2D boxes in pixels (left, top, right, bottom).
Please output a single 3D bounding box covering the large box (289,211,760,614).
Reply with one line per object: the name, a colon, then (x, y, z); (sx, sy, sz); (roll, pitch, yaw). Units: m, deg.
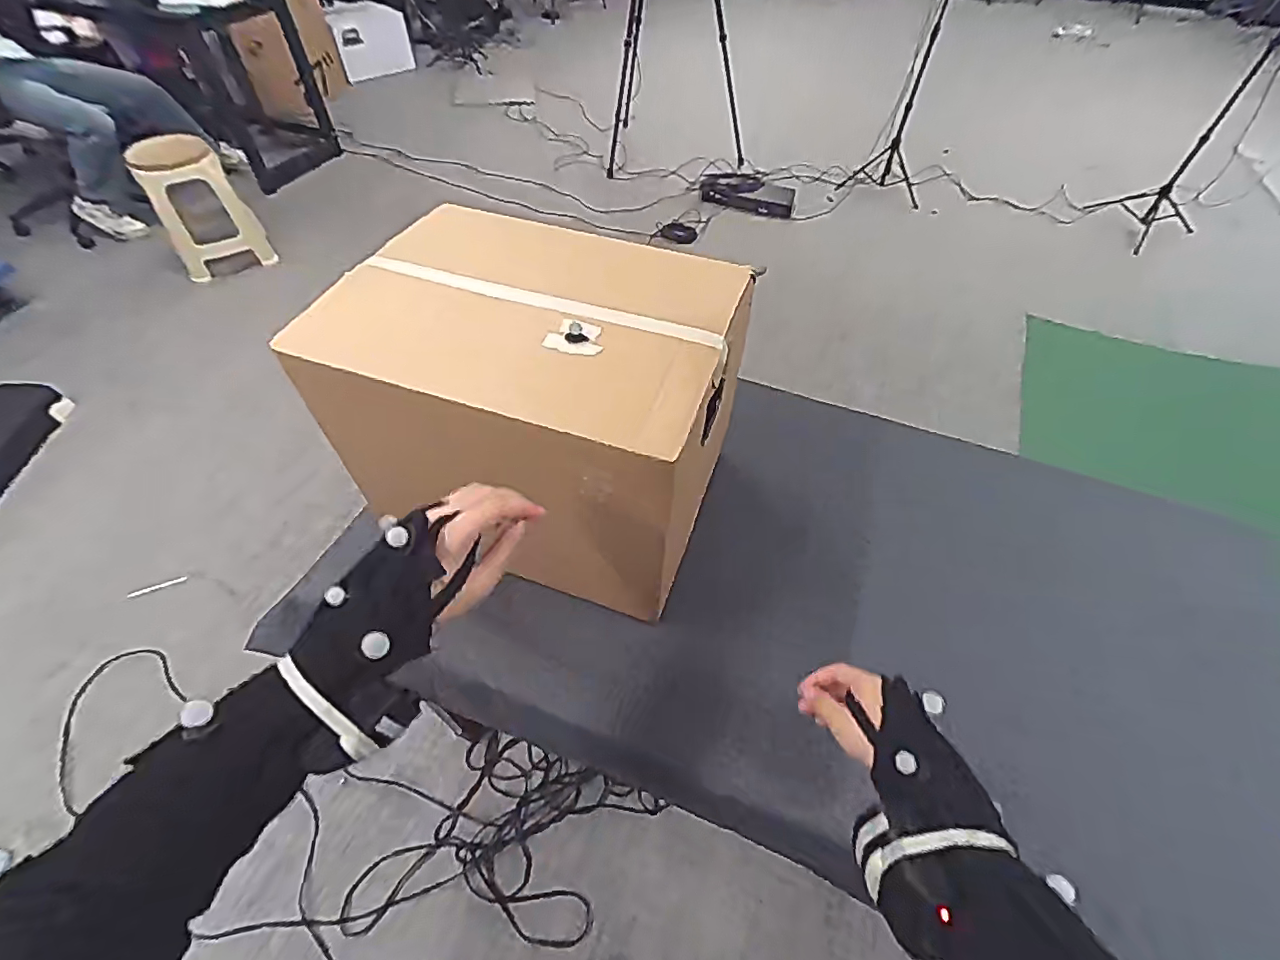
large box: (-0.105, -0.085, 0.679); (0.408, 0.320, 0.320); (17, 53, 10)
